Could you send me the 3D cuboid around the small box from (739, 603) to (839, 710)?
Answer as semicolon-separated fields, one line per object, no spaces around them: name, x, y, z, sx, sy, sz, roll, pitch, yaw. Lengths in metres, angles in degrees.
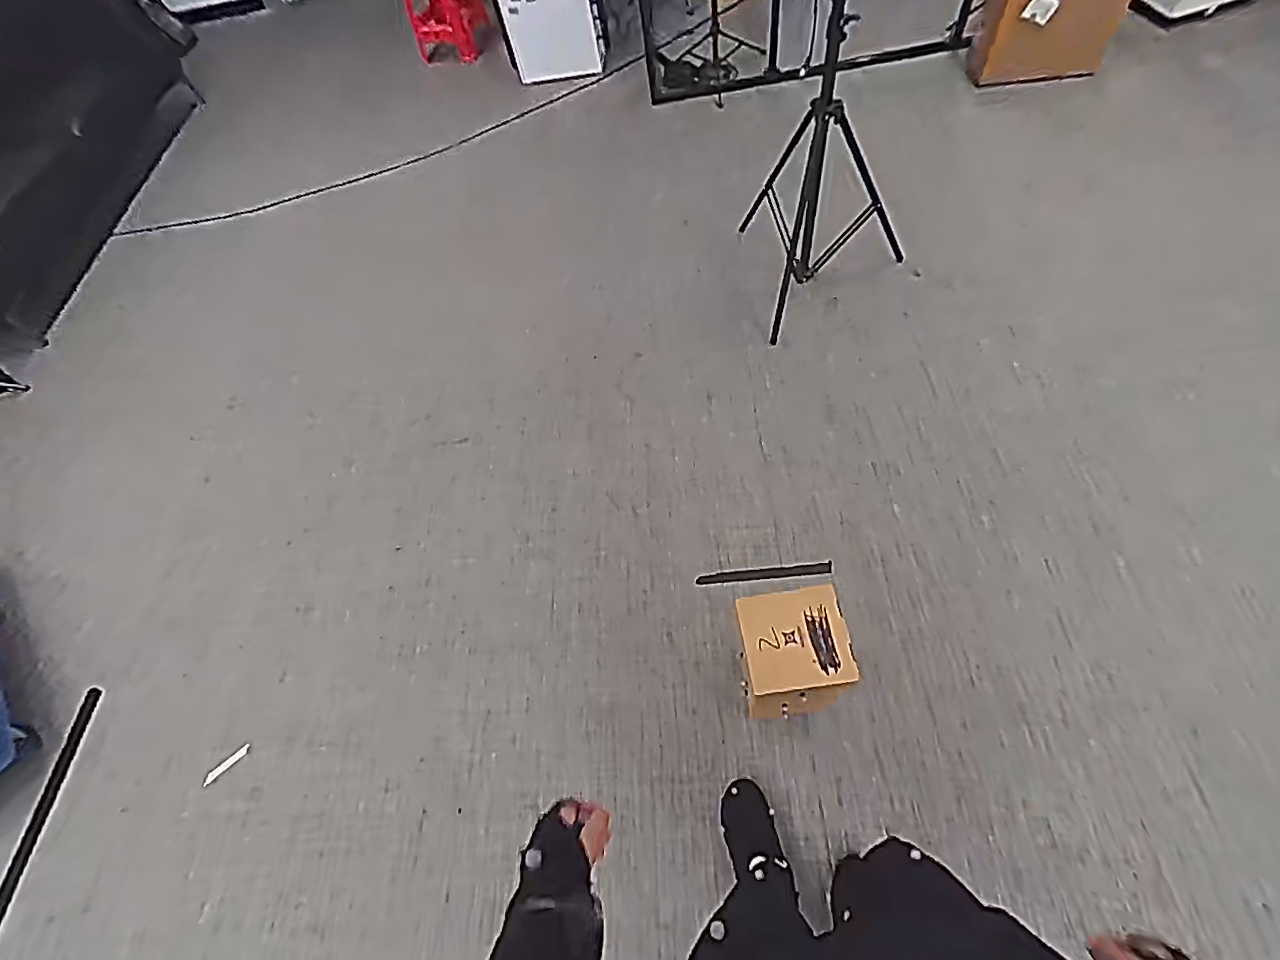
small box;0.300;0.371;1.126;0.168;0.176;0.179;-8;61;6

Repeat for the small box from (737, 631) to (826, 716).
small box;0.325;0.449;1.267;0.168;0.176;0.179;-9;60;5
